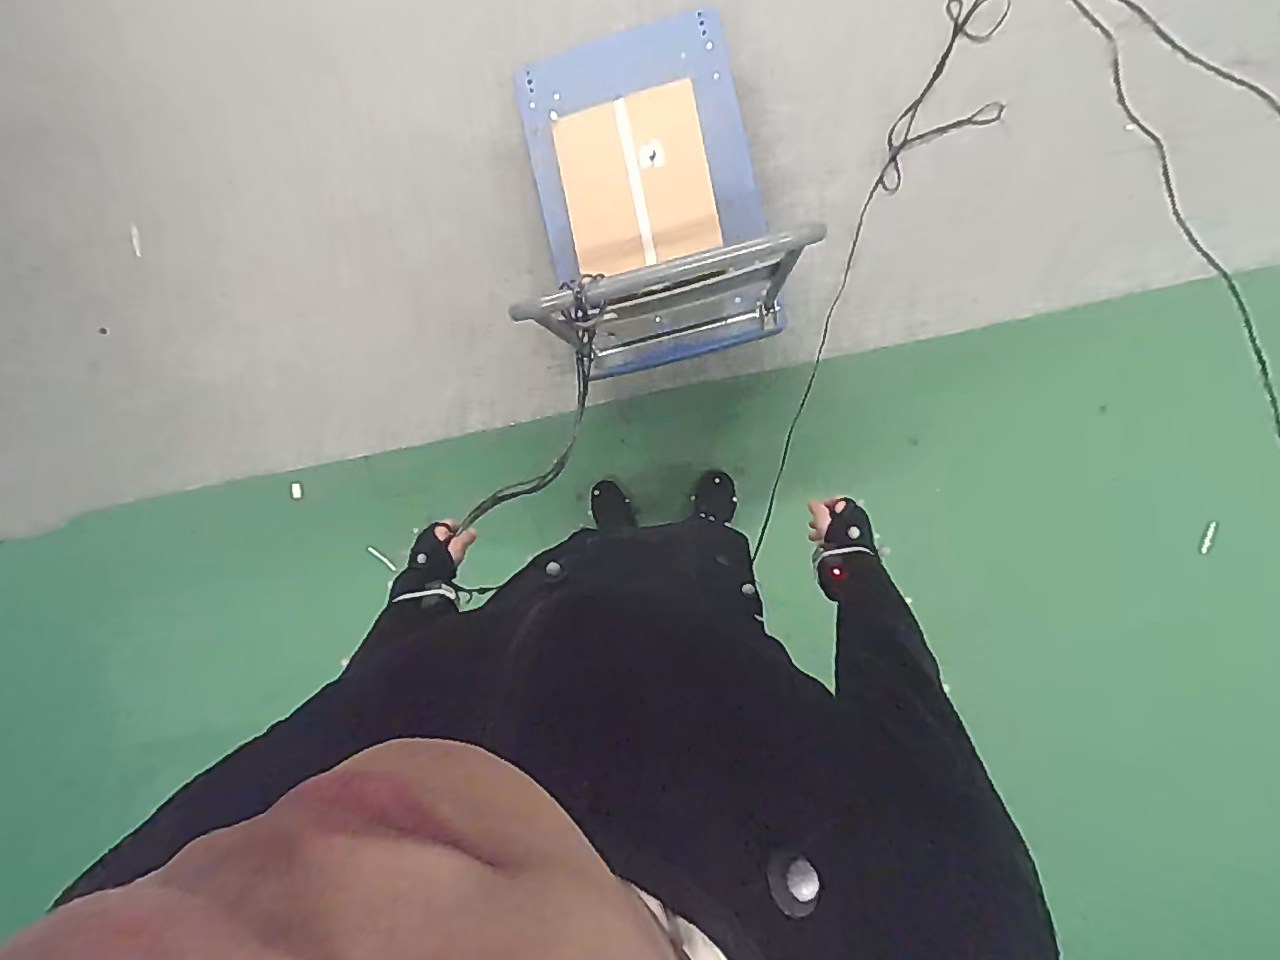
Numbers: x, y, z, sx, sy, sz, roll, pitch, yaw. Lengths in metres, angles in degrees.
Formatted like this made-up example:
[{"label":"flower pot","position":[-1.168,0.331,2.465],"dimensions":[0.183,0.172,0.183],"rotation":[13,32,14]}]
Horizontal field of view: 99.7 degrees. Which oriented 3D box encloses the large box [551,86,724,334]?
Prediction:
[{"label":"large box","position":[0.012,-0.615,1.309],"dimensions":[0.320,0.320,0.408],"rotation":[-11,90,7]}]
